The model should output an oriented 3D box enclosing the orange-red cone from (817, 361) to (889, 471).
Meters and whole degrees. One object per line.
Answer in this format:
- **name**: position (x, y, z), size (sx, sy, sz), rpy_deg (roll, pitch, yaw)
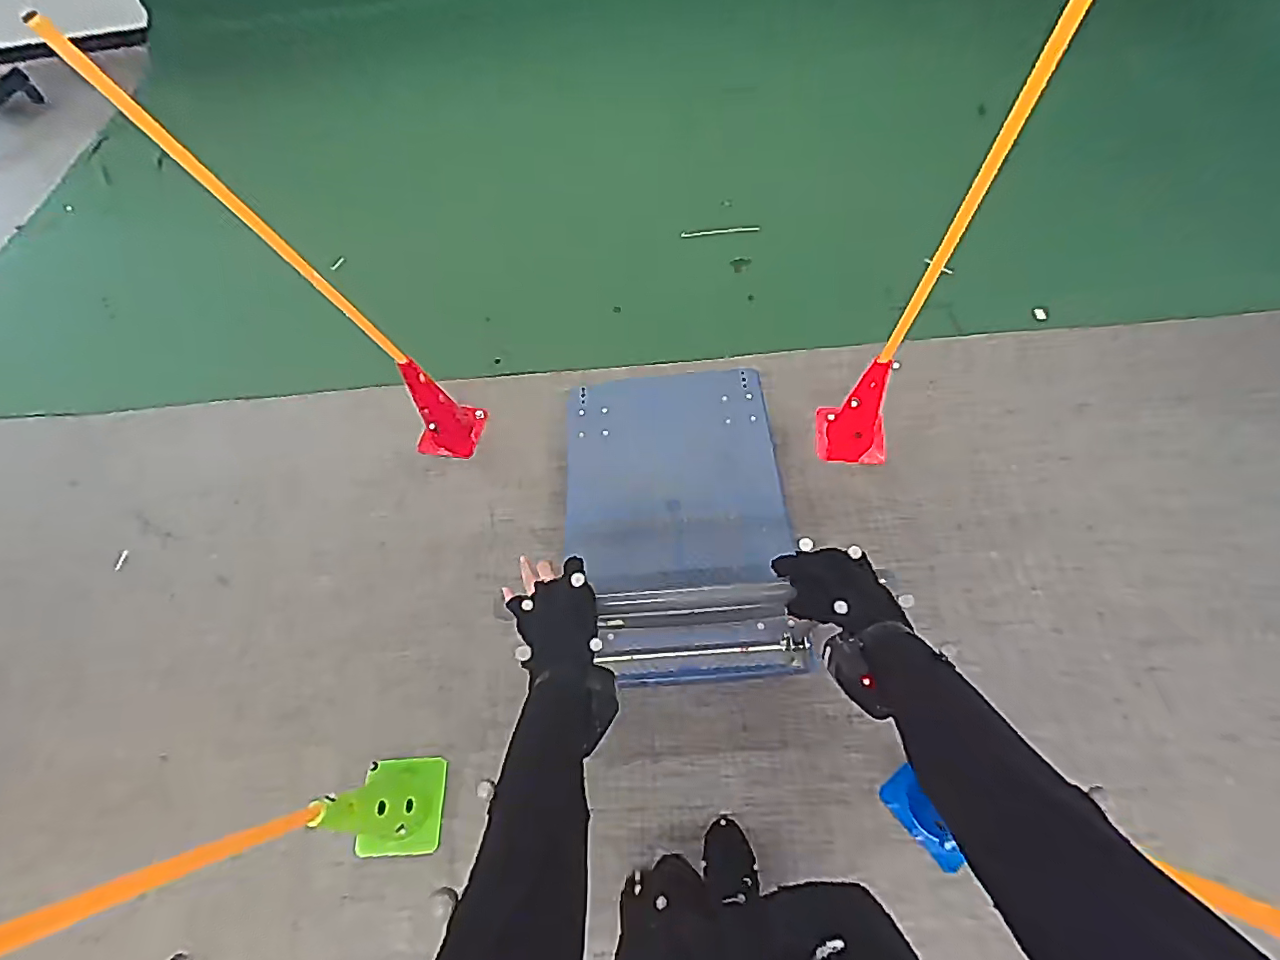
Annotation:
- **orange-red cone**: position (0.635, -0.202, 1.528), size (0.198, 0.360, 0.199), rpy_deg (6, 62, 9)
